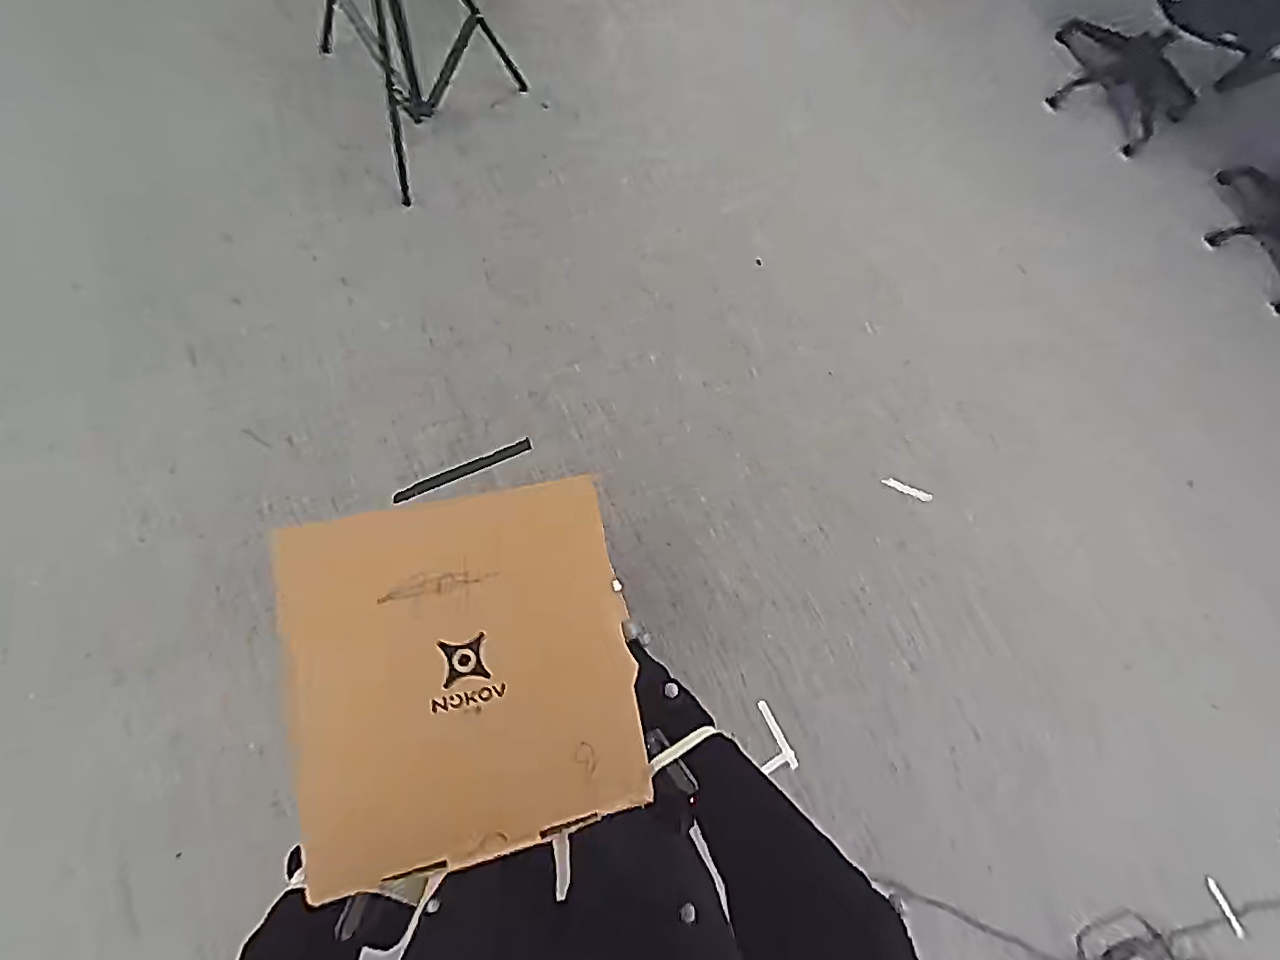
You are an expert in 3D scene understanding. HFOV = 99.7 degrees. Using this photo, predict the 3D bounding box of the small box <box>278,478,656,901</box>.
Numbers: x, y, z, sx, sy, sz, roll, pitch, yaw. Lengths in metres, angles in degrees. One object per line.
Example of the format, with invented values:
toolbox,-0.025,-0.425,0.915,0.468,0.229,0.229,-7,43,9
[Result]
small box,-0.099,0.109,0.349,0.168,0.176,0.179,-10,81,-13
